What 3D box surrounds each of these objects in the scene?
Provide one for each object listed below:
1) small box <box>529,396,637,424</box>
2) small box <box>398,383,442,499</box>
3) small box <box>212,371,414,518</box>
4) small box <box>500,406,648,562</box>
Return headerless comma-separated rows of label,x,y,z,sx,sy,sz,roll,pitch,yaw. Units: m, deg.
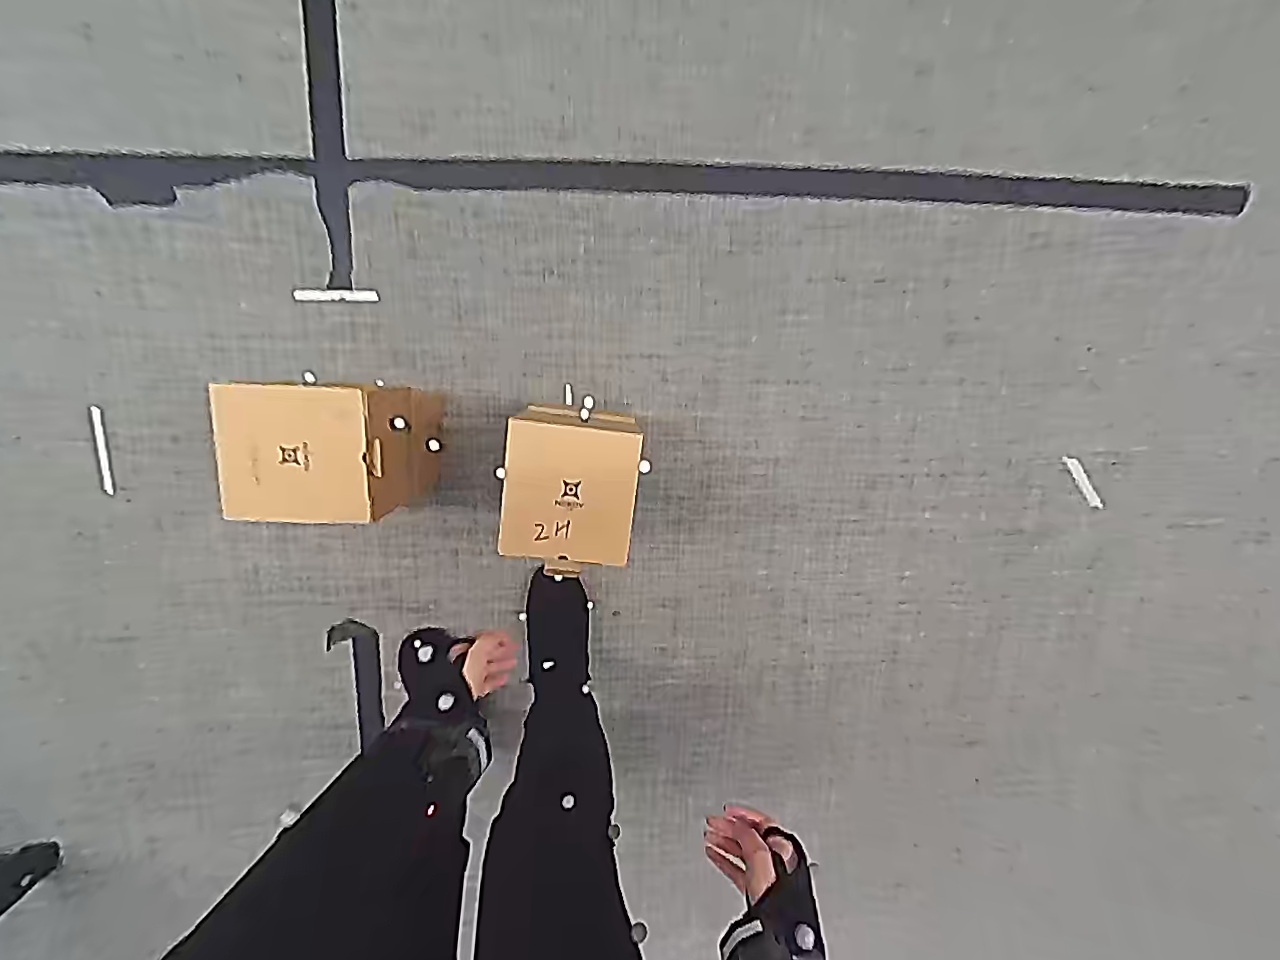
small box,-0.101,-0.040,0.904,0.168,0.176,0.179,7,100,-6
small box,-0.430,-0.075,0.873,0.179,0.176,0.168,6,101,-7
small box,-0.408,-0.054,0.711,0.179,0.176,0.168,2,101,-4
small box,-0.089,-0.004,0.744,0.168,0.176,0.179,7,101,-5
